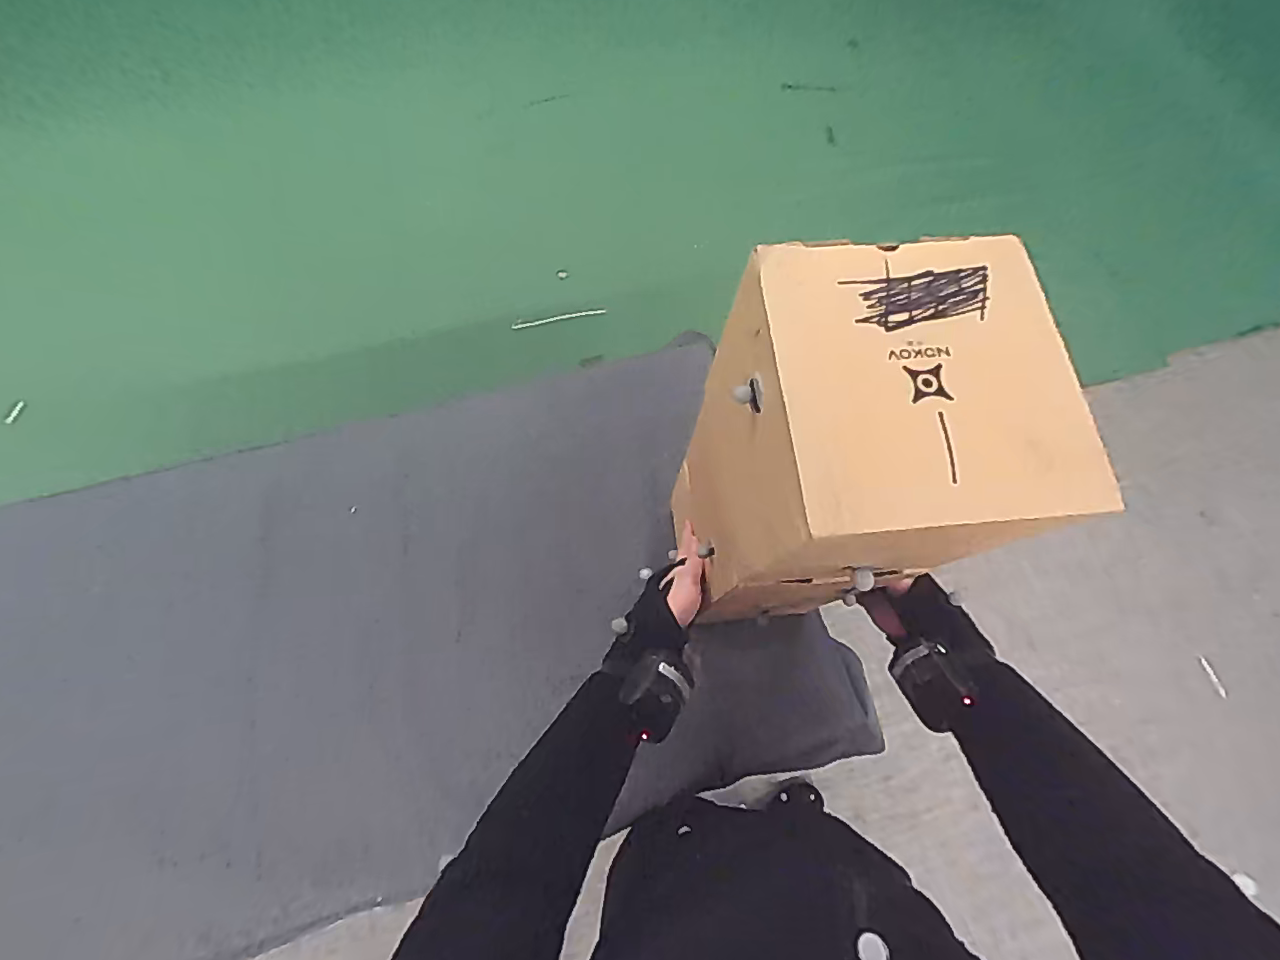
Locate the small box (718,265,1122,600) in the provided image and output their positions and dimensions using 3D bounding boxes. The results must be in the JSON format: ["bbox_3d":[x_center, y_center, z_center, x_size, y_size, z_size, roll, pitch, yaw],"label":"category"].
[{"bbox_3d":[0.157,-0.020,0.375,0.168,0.176,0.179,-4,72,-4],"label":"small box"}]

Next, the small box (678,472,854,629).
[{"bbox_3d":[0.144,0.091,0.682,0.168,0.176,0.179,-5,71,-4],"label":"small box"}]

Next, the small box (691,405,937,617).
[{"bbox_3d":[0.149,0.036,0.530,0.168,0.176,0.179,-5,70,-5],"label":"small box"}]
